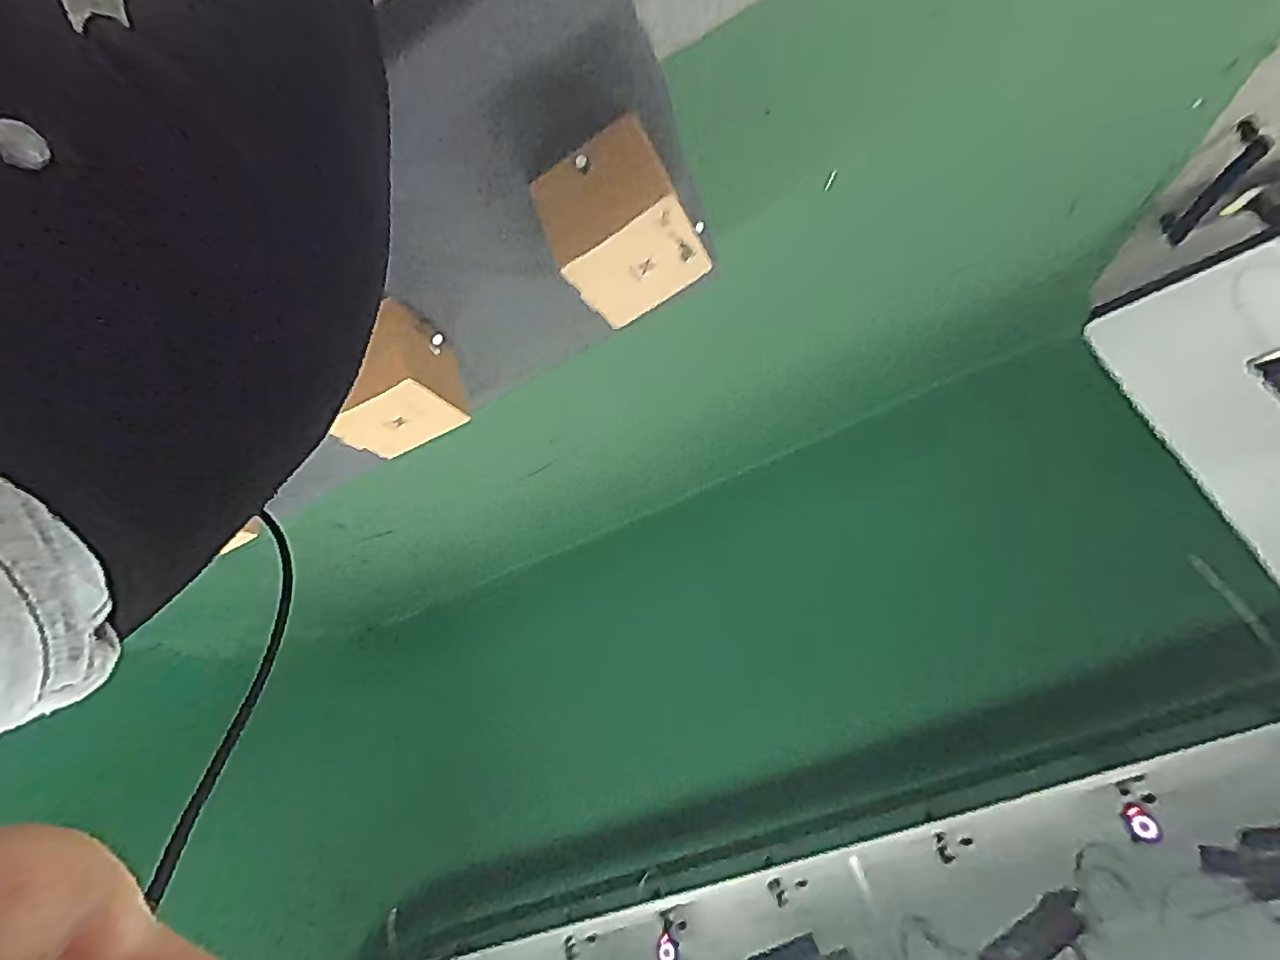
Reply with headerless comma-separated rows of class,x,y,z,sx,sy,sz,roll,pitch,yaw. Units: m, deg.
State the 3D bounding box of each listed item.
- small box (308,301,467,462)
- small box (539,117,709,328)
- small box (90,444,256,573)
small box,-0.423,-0.160,0.905,0.179,0.176,0.168,-25,159,9
small box,-0.027,-0.361,0.777,0.179,0.176,0.168,-26,158,17
small box,-0.865,0.055,1.007,0.179,0.176,0.168,-23,158,8
